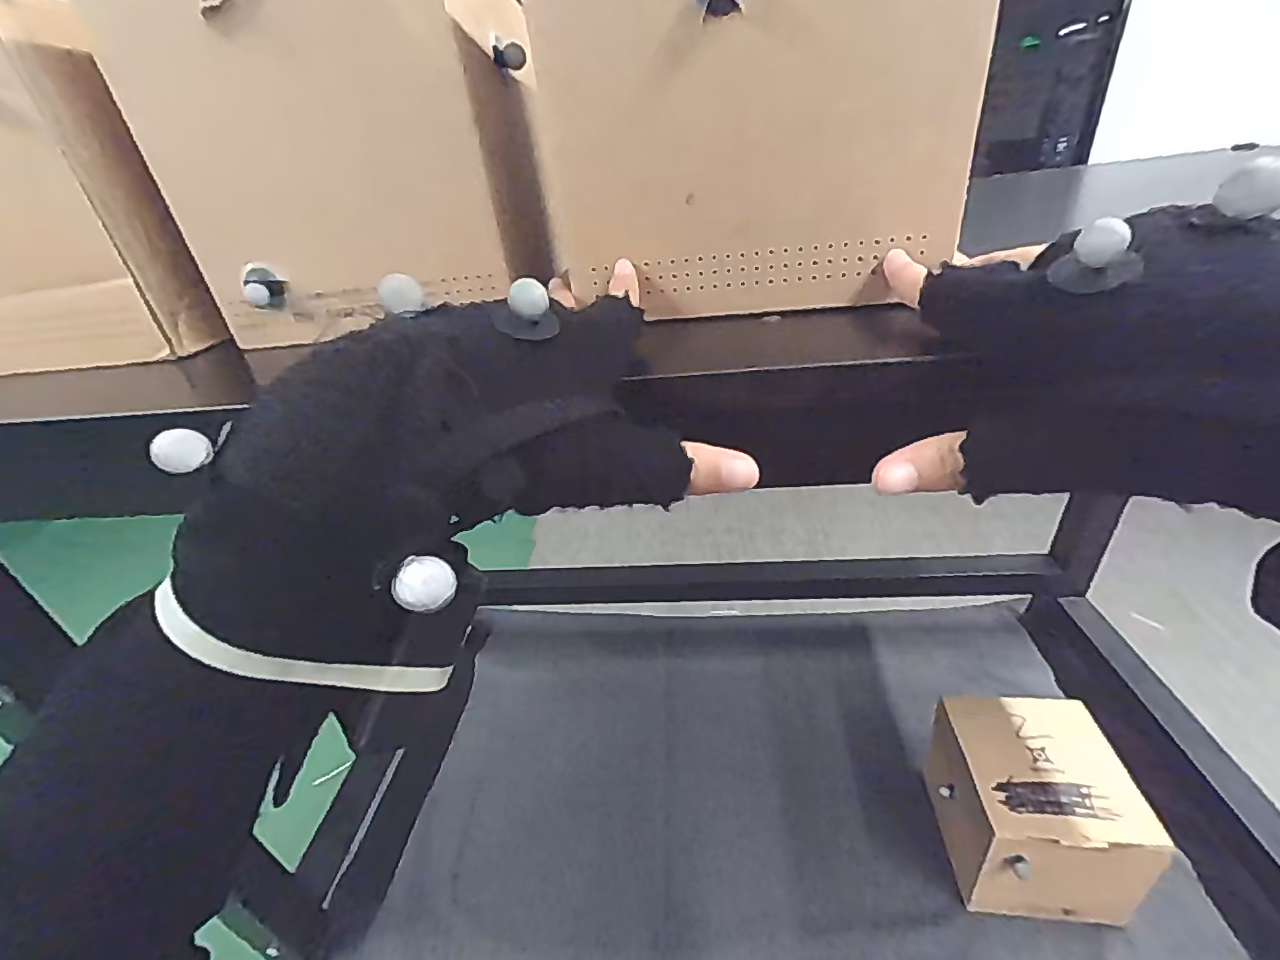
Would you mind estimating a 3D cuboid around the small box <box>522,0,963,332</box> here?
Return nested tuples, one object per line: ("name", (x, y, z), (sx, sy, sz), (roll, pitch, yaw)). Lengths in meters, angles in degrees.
("small box", (0.052, -0.184, 0.289), (0.179, 0.176, 0.168), (0, 32, 11))
